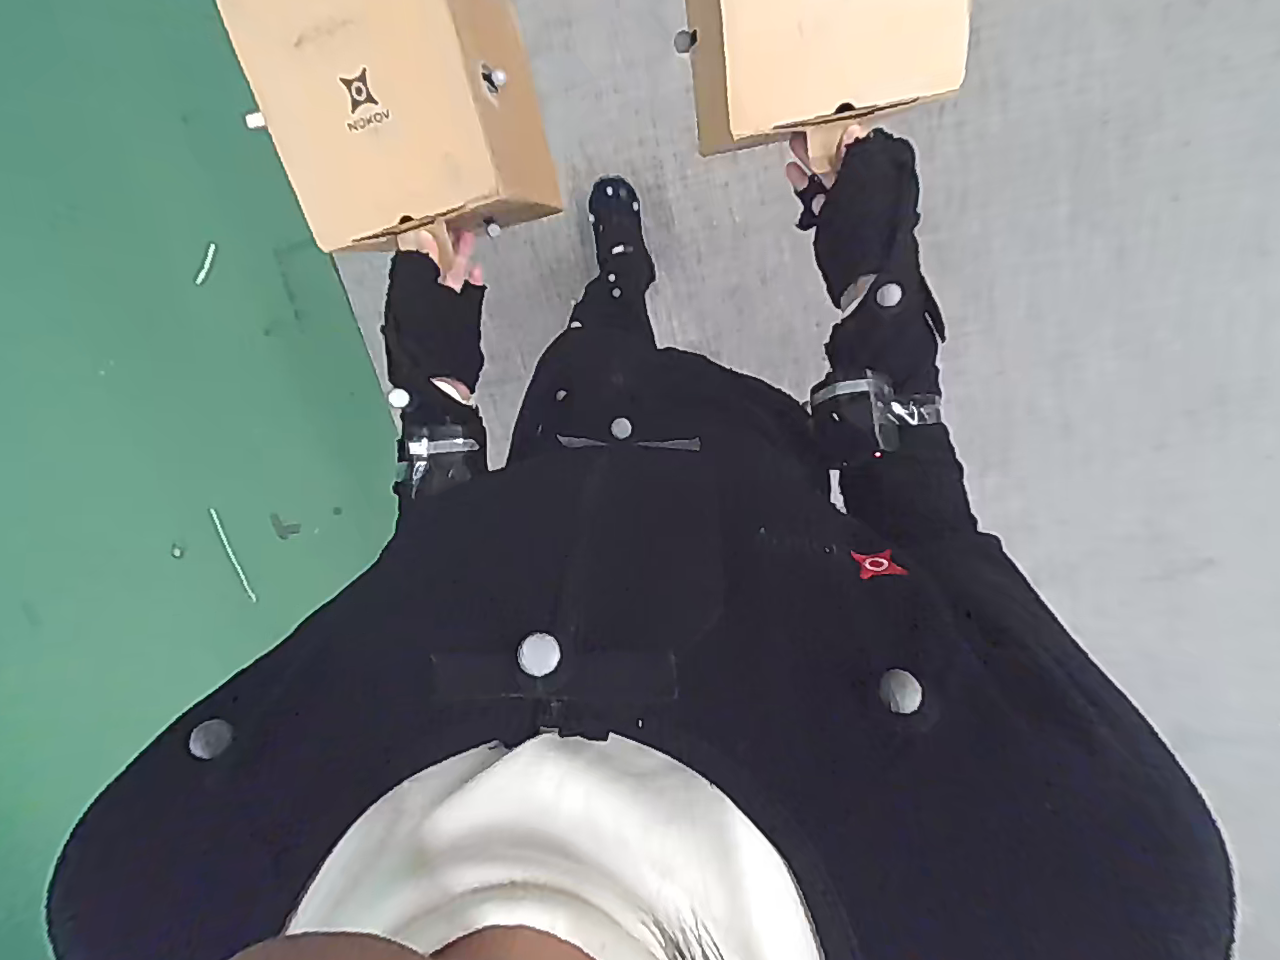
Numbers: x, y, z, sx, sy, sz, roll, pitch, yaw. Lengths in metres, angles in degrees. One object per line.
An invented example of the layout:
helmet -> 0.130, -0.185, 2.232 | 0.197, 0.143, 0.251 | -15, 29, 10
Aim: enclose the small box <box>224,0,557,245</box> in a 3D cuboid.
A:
small box -> -0.189, -0.317, 0.470 | 0.168, 0.176, 0.179 | -10, 110, 14
